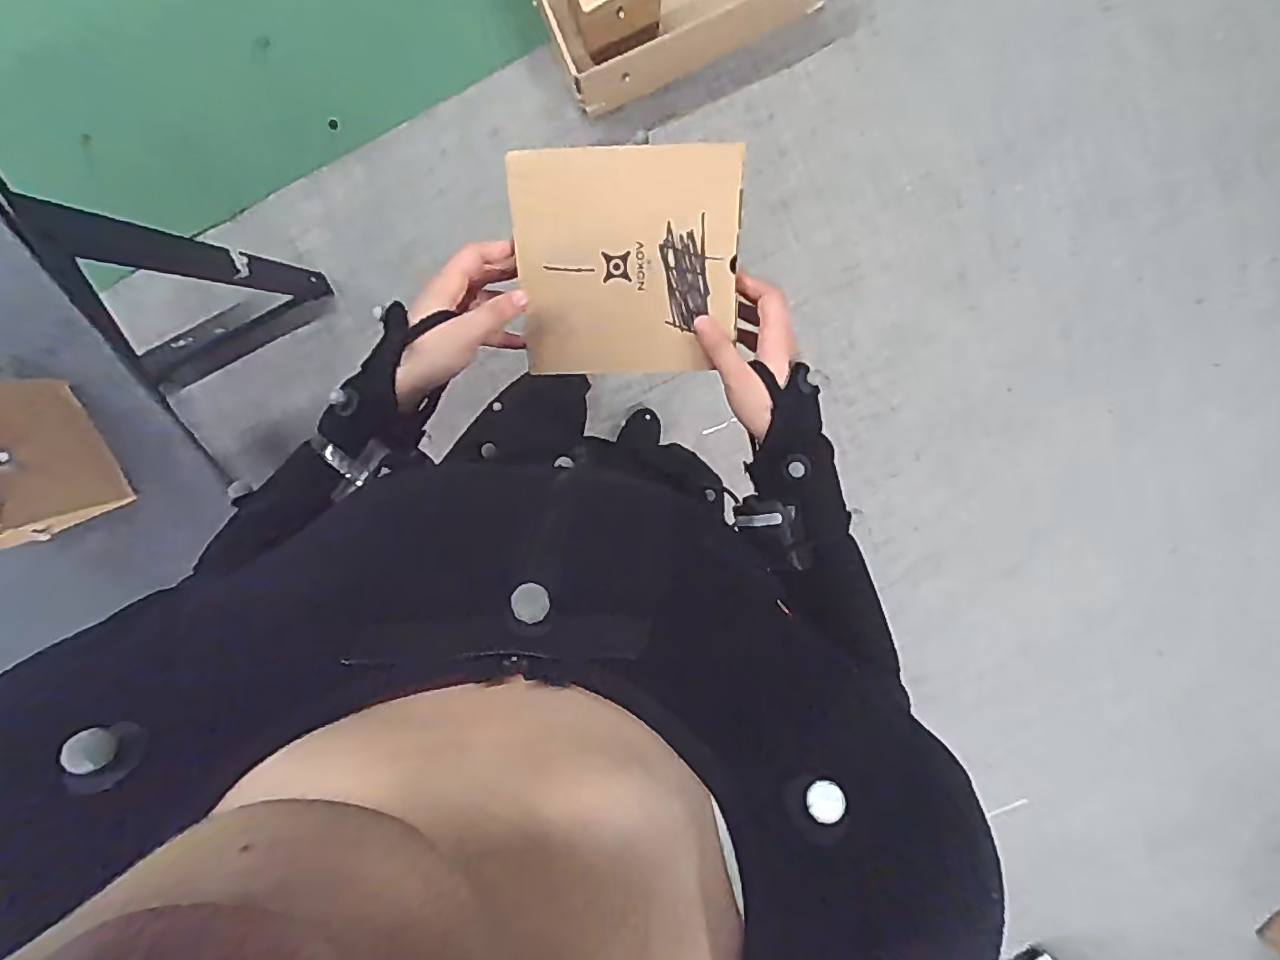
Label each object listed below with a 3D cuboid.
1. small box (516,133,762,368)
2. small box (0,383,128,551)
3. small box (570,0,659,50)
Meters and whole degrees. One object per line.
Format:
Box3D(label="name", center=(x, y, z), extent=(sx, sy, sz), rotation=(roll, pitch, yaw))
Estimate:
Box3D(label="small box", center=(0.001, -0.202, 0.483), extent=(0.179, 0.176, 0.168), rotation=(-1, 115, 2))
Box3D(label="small box", center=(-0.783, -0.004, 0.639), extent=(0.168, 0.176, 0.179), rotation=(-21, 101, 4))
Box3D(label="small box", center=(-0.064, -1.039, 1.107), extent=(0.179, 0.176, 0.168), rotation=(-23, 103, 3))
